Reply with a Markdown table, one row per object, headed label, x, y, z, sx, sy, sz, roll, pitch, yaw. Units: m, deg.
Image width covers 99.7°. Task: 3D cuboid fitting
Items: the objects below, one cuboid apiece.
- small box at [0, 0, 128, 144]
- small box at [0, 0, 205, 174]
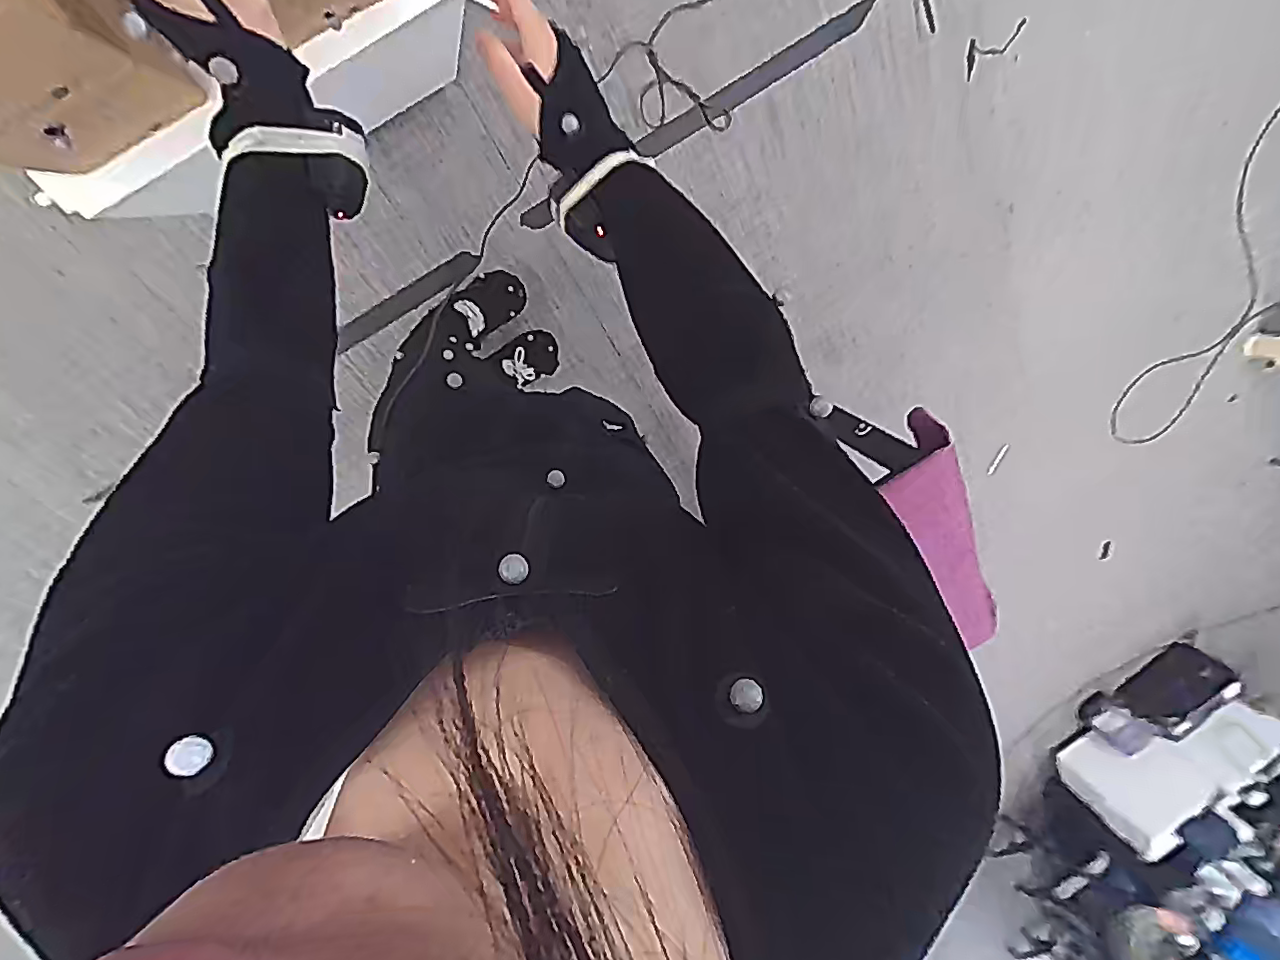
| label | x | y | z | sx | sy | sz | roll | pitch | yaw |
| --- | --- | --- | --- | --- | --- | --- | --- | --- | --- |
| small box | -0.494 | -0.327 | 0.333 | 0.168 | 0.176 | 0.179 | -34 | 121 | -1 |
| small box | -0.546 | -0.397 | 0.471 | 0.168 | 0.176 | 0.179 | -33 | 121 | -2 |
